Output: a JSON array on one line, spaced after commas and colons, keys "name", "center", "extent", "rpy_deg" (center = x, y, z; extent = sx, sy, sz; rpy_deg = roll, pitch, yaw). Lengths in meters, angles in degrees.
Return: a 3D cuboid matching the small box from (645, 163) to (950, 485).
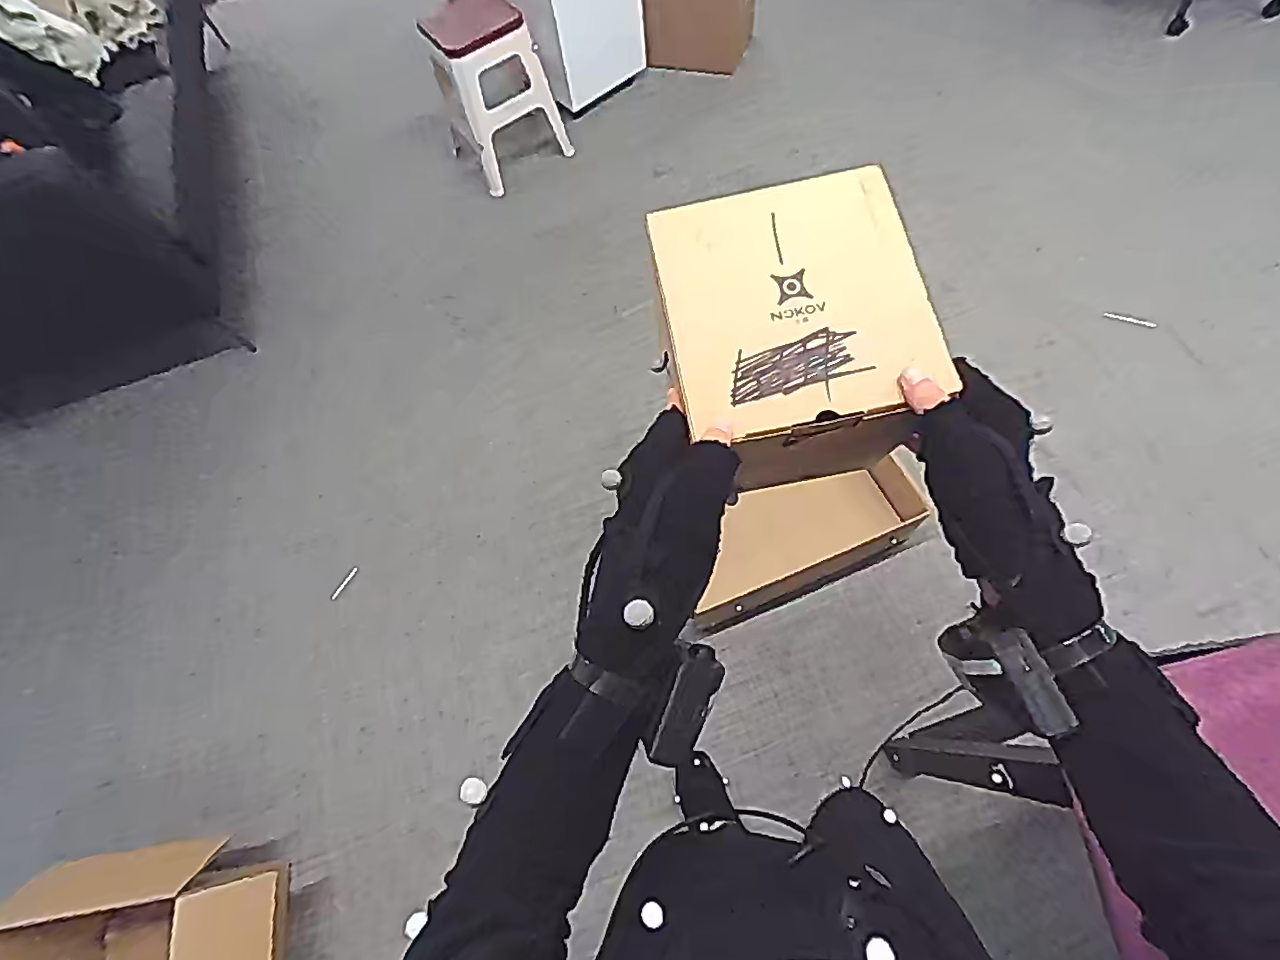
[{"name": "small box", "center": [0.103, -0.101, 0.429], "extent": [0.168, 0.176, 0.179], "rpy_deg": [-11, 75, 2]}]
